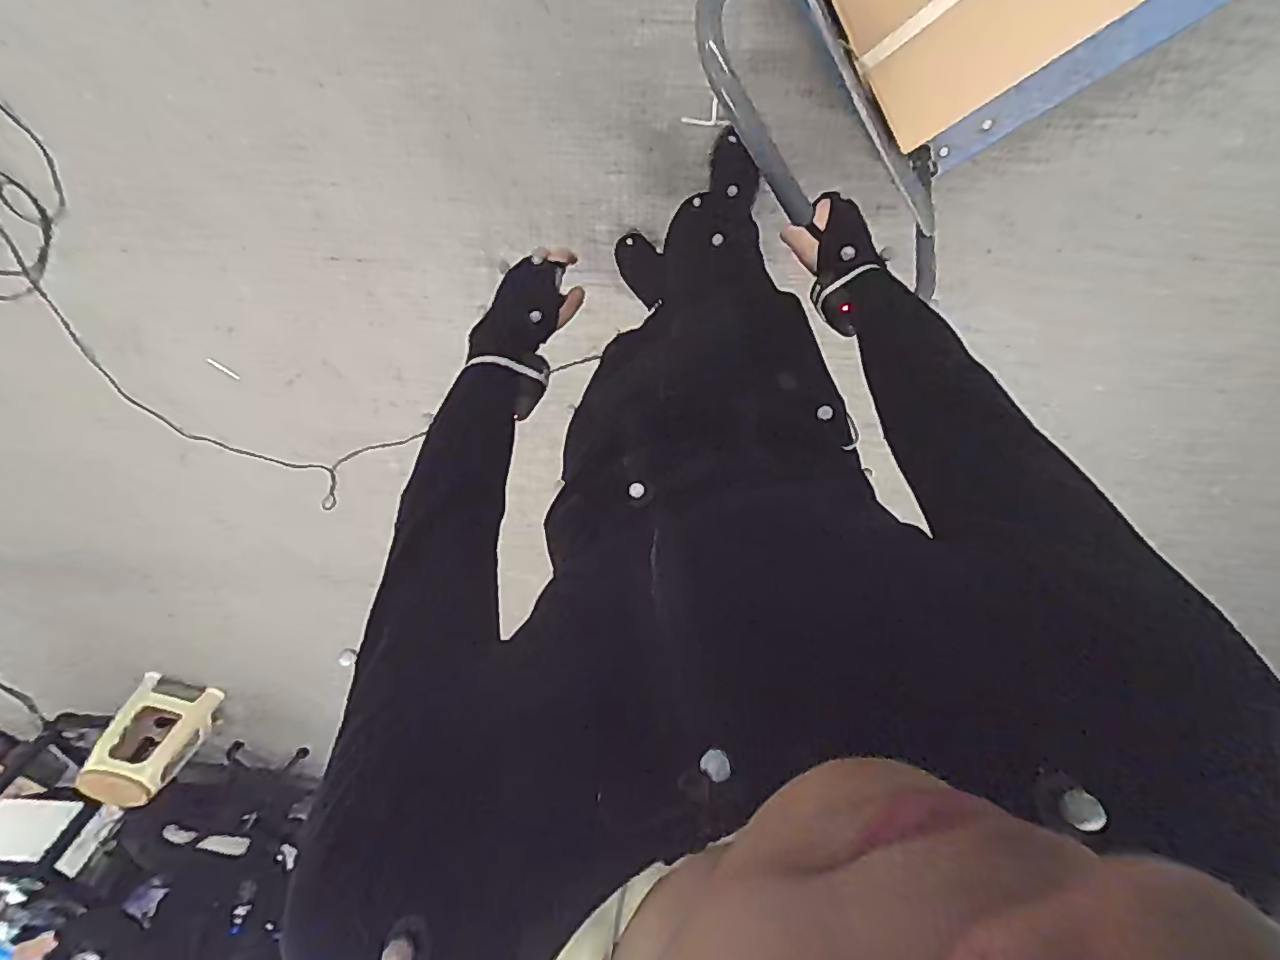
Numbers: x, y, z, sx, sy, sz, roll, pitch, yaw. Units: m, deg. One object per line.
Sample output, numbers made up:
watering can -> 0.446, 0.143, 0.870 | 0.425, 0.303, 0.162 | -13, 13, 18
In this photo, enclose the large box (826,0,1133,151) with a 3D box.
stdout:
large box -> 0.517, -0.801, 0.810 | 0.408, 0.320, 0.320 | -23, 123, 37
